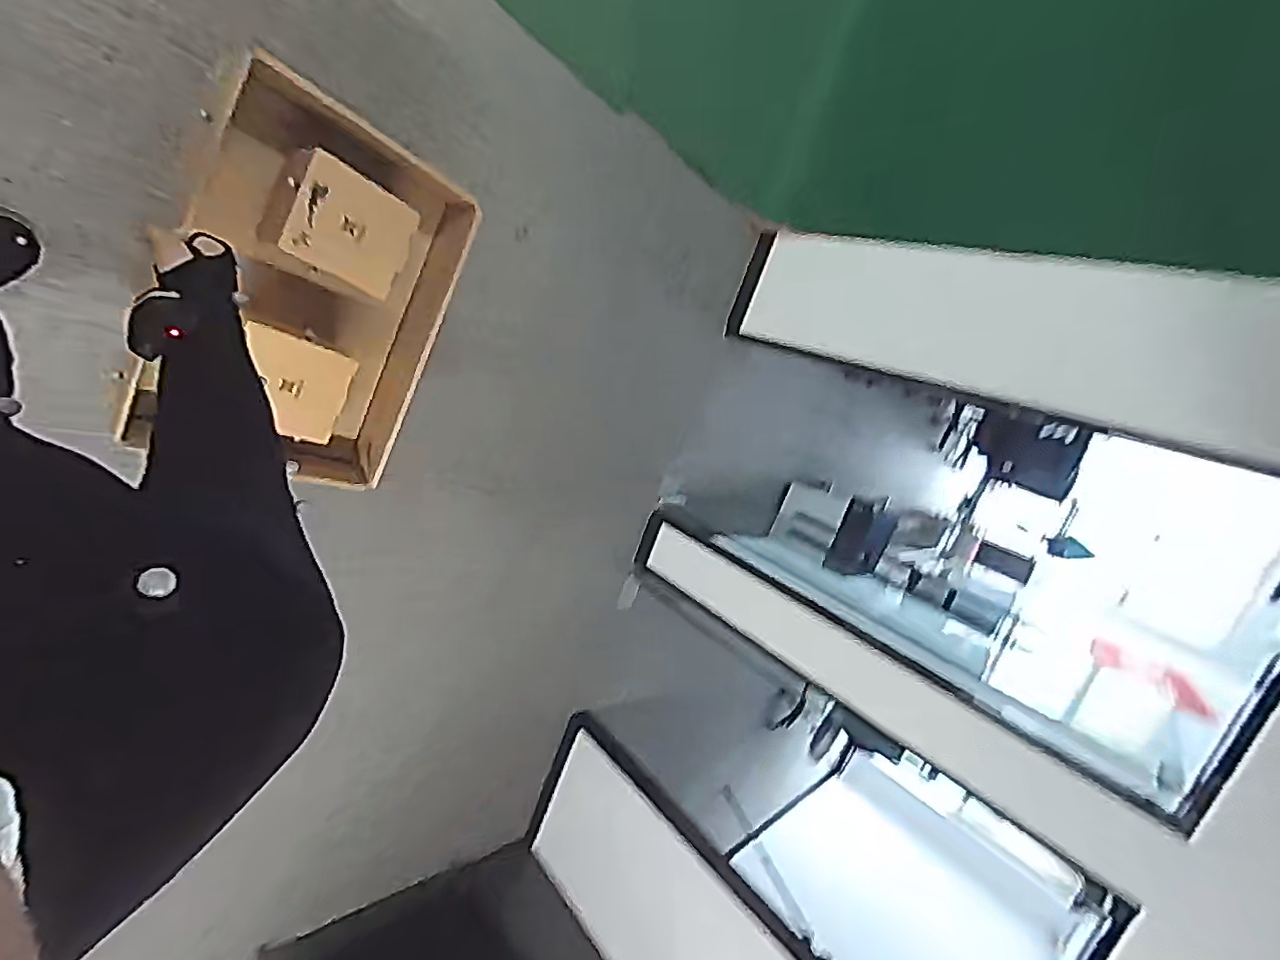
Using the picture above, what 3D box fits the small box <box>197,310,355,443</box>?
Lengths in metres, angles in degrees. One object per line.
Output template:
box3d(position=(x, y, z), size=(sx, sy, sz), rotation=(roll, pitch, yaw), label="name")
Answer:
box3d(position=(-0.650, -0.186, 0.961), size=(0.179, 0.176, 0.168), rotation=(18, 98, -51), label="small box")

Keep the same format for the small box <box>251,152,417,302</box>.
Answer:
box3d(position=(-0.530, -0.437, 0.936), size=(0.179, 0.176, 0.168), rotation=(22, 95, -51), label="small box")
